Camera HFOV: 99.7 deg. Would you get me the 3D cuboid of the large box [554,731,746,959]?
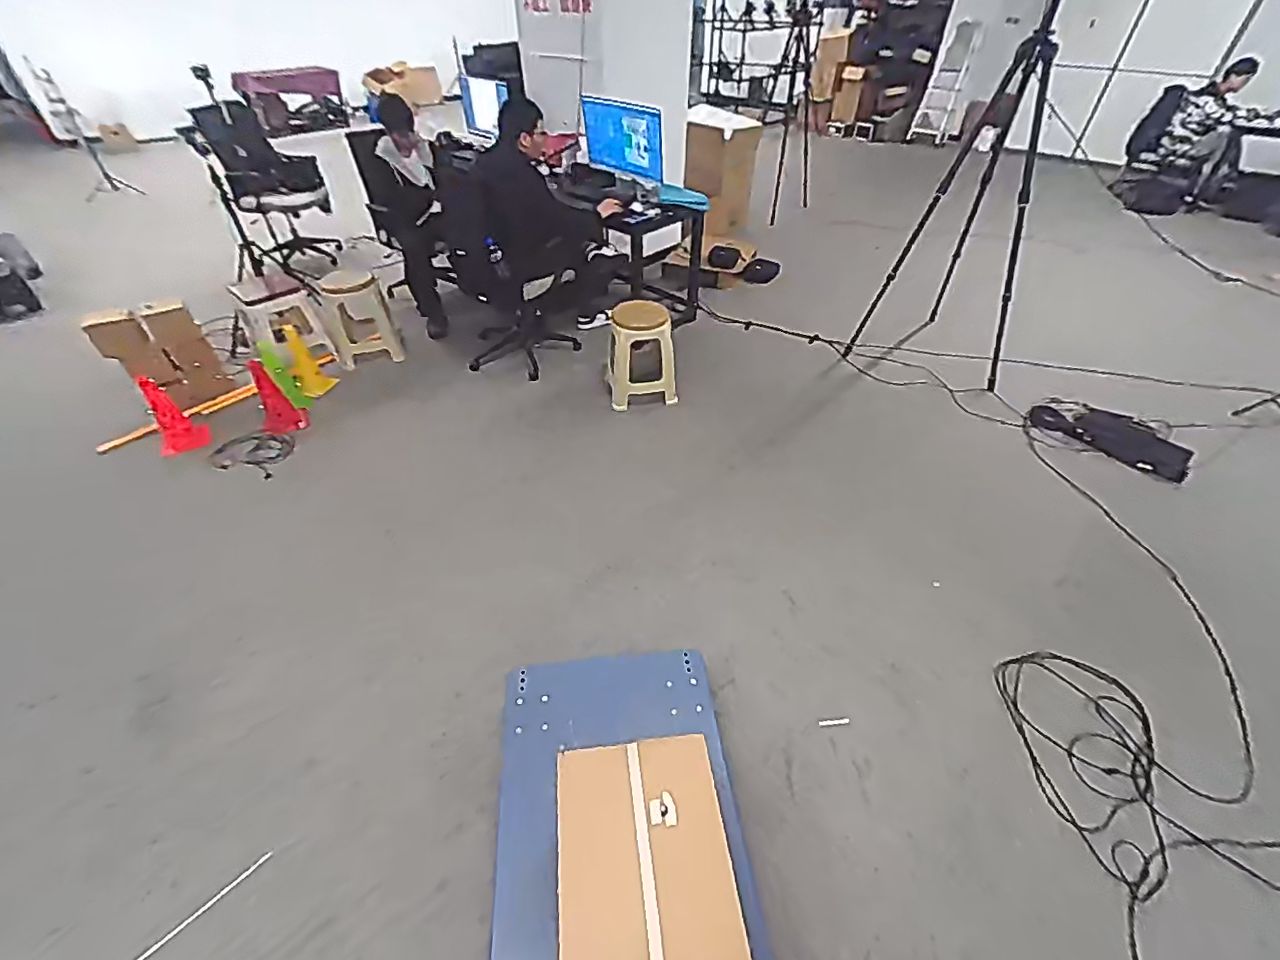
[{"bbox_3d":[-0.002,0.797,1.107,0.320,0.320,0.408,-4,42,-6],"label":"large box"}]
